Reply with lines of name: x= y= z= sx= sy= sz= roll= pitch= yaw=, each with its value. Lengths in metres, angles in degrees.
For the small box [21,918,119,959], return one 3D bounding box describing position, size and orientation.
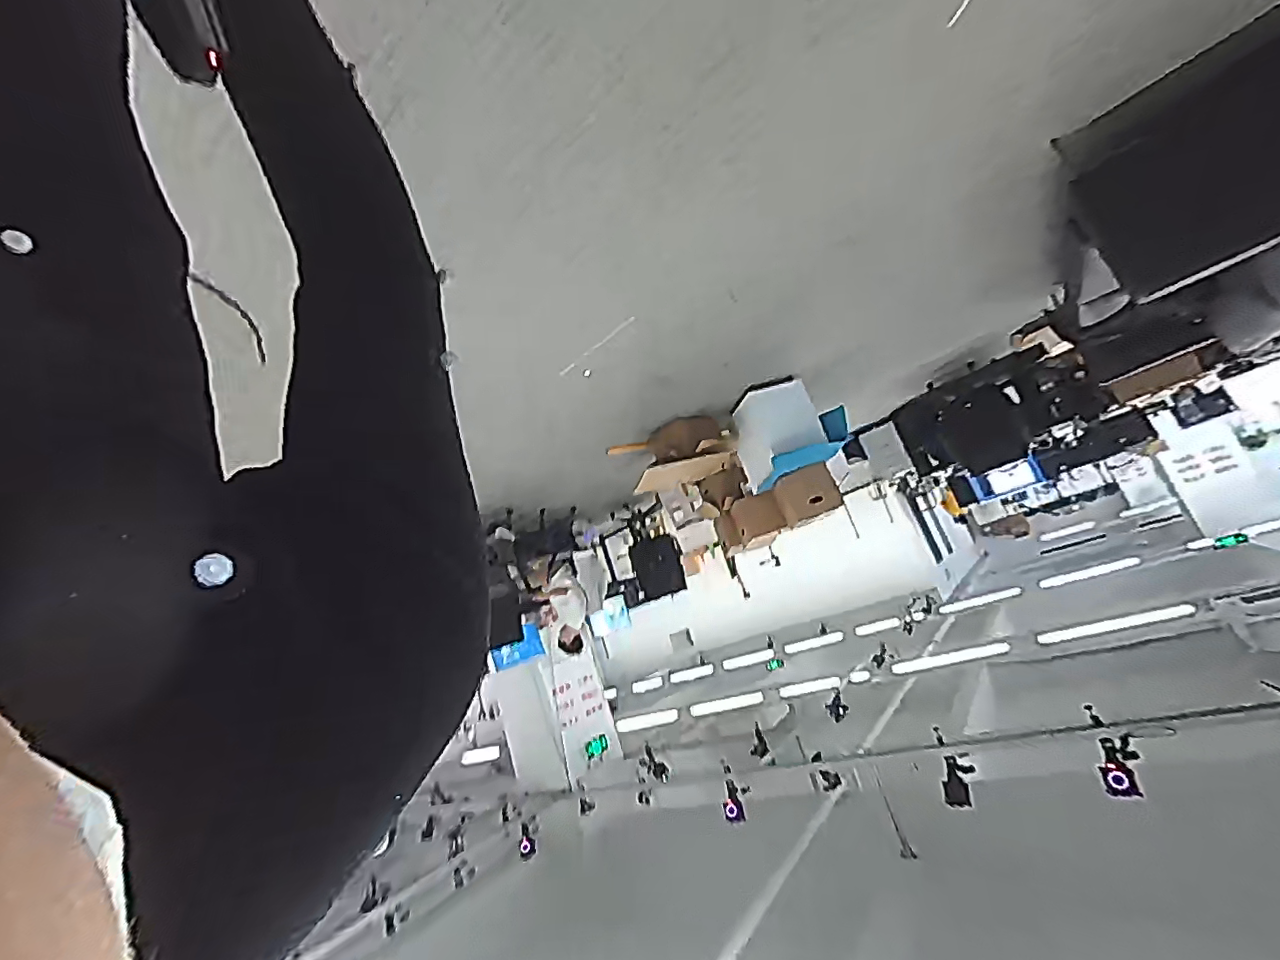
small box: x=-1.510 y=1.306 z=1.429 sx=0.168 sy=0.176 sz=0.179 roll=-28 pitch=163 yaw=37
